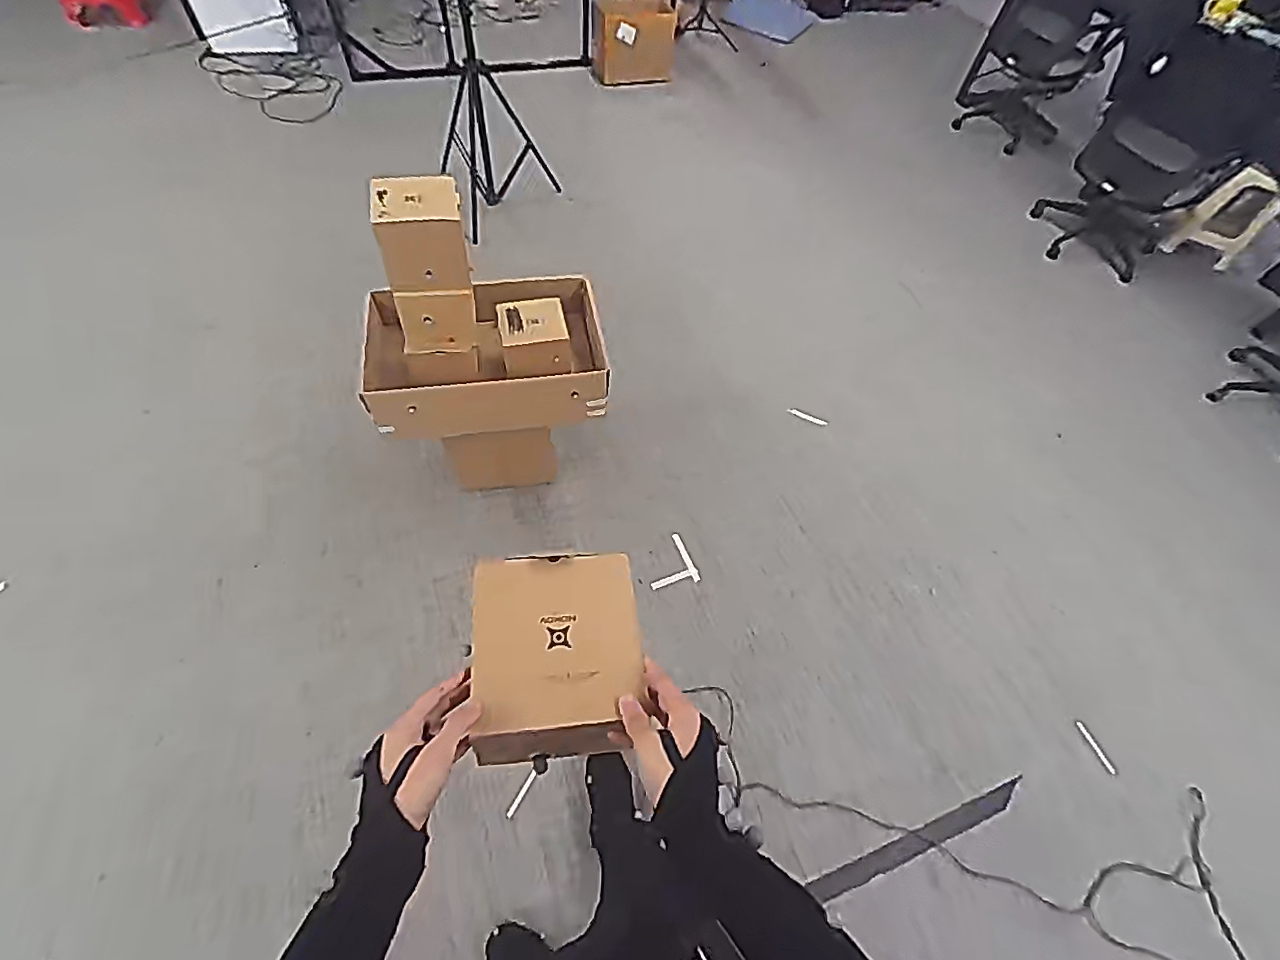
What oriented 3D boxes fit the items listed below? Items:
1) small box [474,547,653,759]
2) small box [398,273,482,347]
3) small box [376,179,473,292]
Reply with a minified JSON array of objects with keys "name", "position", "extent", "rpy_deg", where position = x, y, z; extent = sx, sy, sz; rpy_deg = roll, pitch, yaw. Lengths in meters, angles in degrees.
[{"name":"small box","position":[-0.091,0.192,0.602],"extent":[0.168,0.176,0.179],"rpy_deg":[0,54,-12]},{"name":"small box","position":[-0.486,-0.442,1.332],"extent":[0.168,0.176,0.179],"rpy_deg":[-7,58,-12]},{"name":"small box","position":[-0.471,-0.539,1.201],"extent":[0.179,0.176,0.168],"rpy_deg":[-8,58,-13]}]
